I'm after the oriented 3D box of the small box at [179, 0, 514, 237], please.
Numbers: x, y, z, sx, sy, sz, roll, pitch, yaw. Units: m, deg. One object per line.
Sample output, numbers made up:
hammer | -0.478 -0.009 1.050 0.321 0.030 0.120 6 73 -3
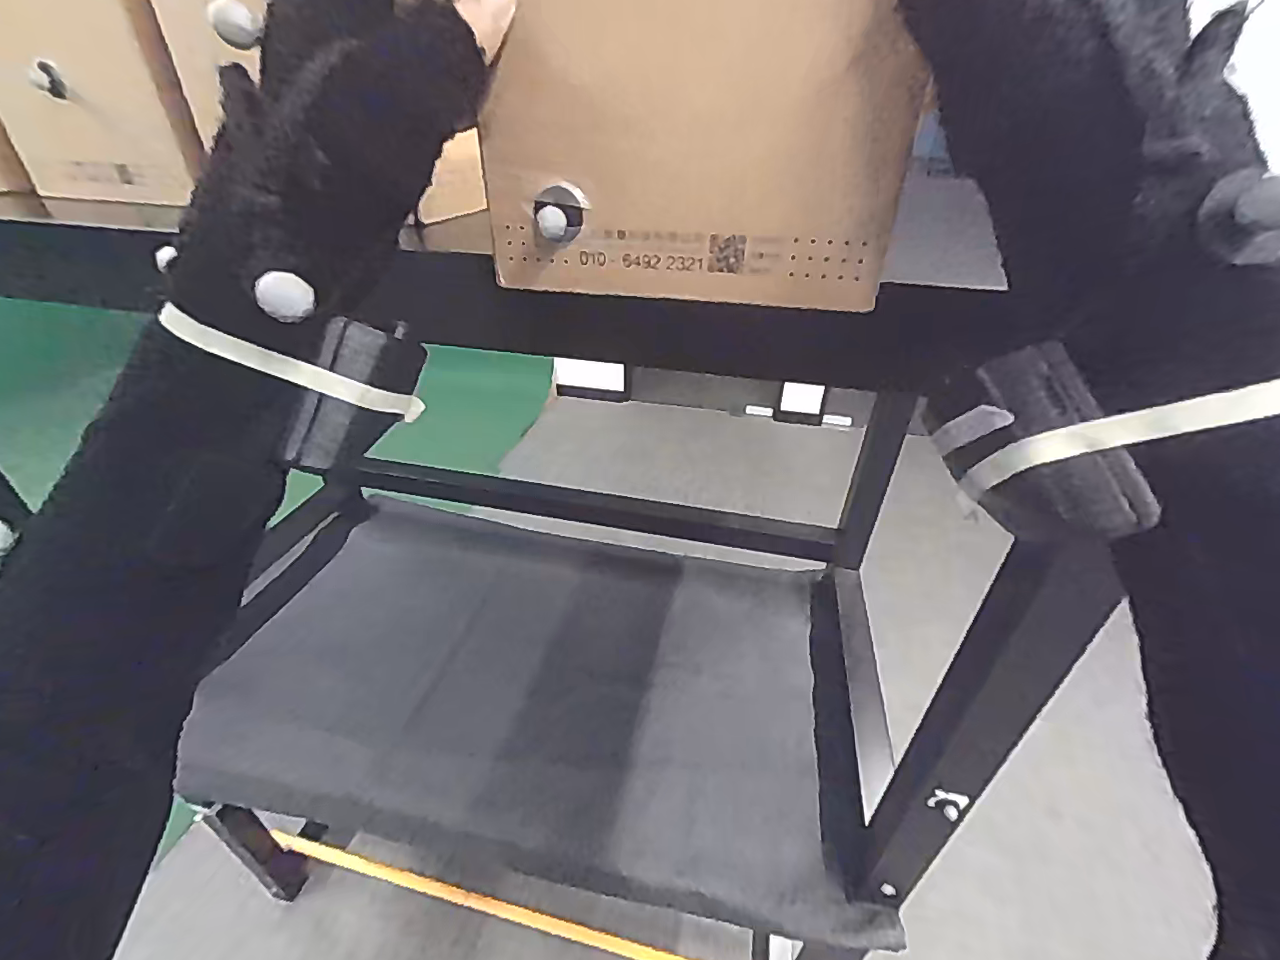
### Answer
small box | -0.198 -0.293 0.409 0.168 0.176 0.179 9 35 11
